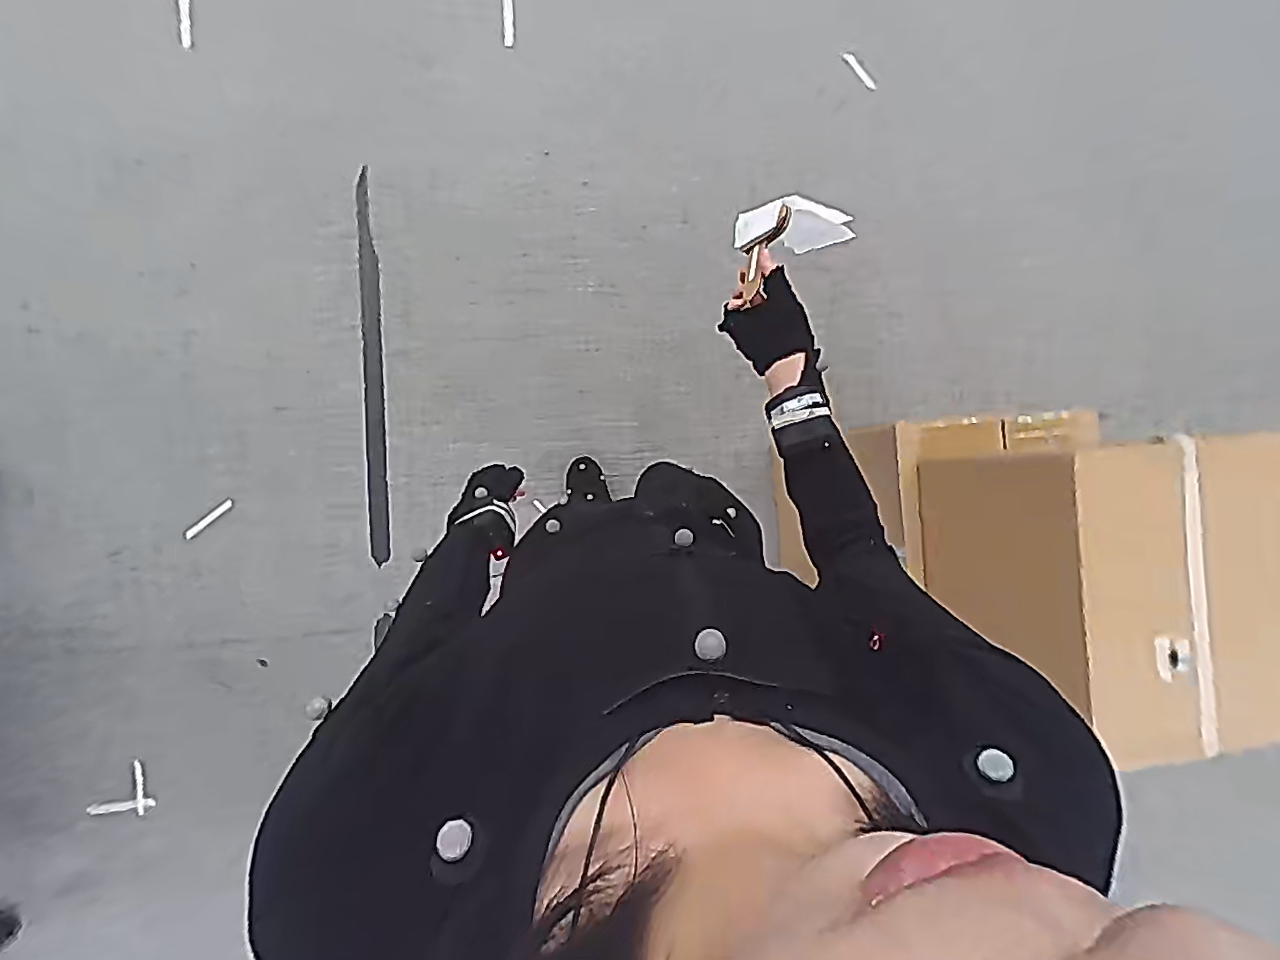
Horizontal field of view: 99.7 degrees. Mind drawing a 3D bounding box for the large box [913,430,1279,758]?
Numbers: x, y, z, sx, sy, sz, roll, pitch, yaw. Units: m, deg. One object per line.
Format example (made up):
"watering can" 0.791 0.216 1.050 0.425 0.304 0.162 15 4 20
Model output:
"large box" 0.675 0.142 0.850 0.320 0.320 0.408 -5 92 -7
